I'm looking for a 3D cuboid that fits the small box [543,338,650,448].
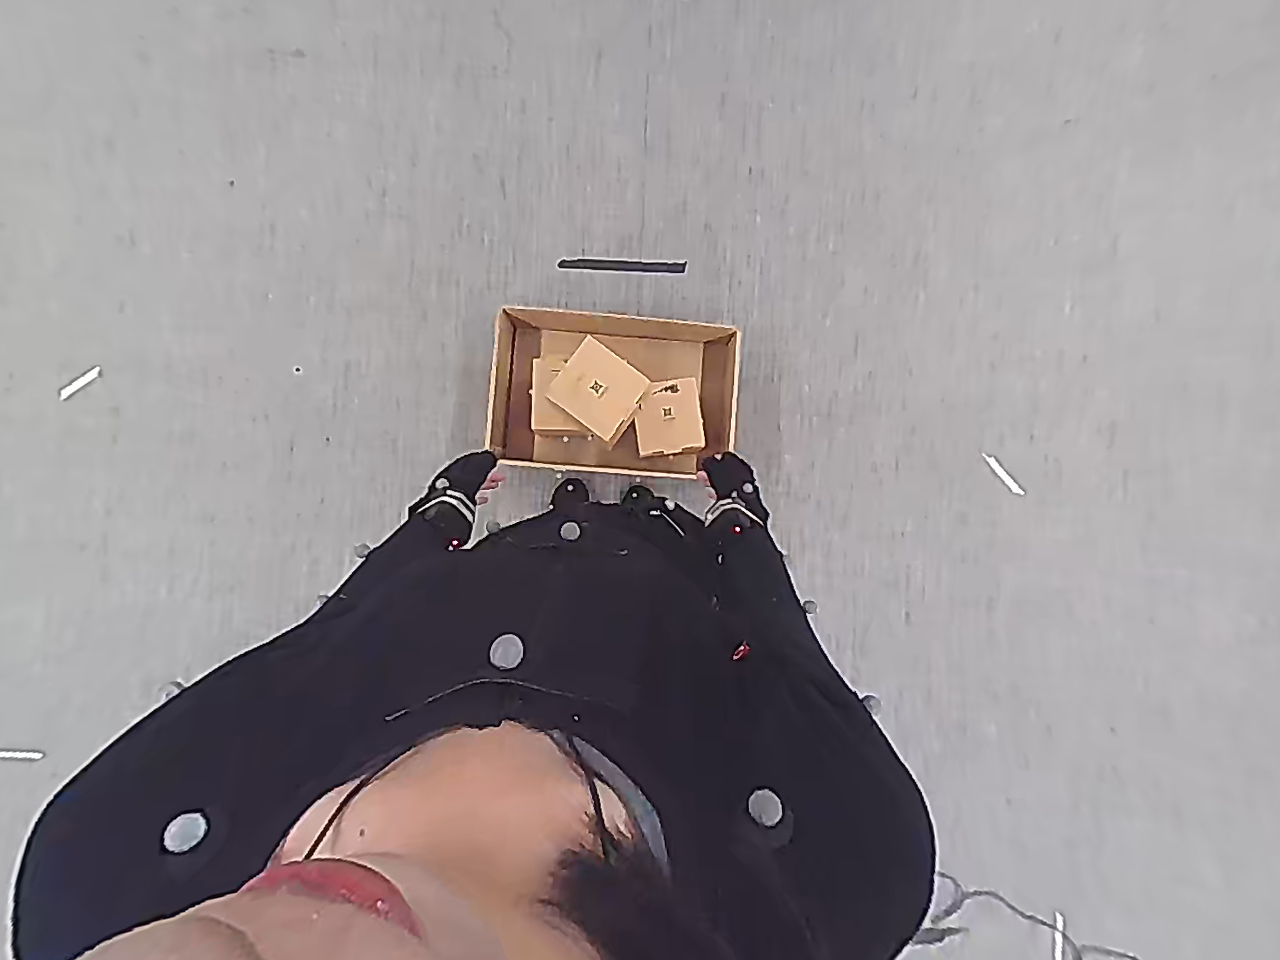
[{"bbox_3d":[-0.096,-0.188,1.235,0.179,0.176,0.168,36,85,0],"label":"small box"}]
